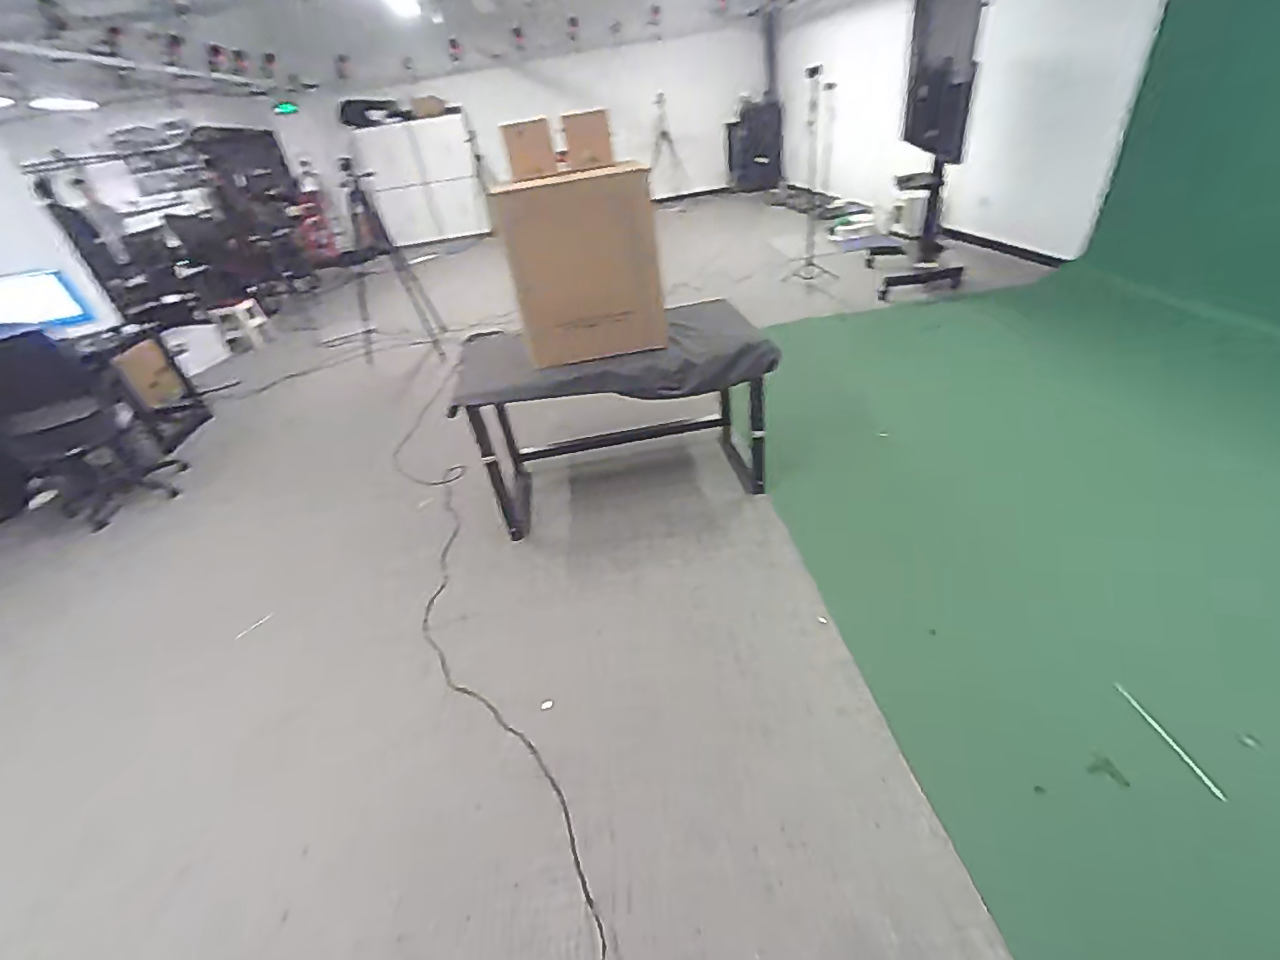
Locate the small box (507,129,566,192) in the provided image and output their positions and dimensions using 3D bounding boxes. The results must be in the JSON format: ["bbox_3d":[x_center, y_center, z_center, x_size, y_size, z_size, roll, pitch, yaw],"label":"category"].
[{"bbox_3d":[-0.360,-1.126,1.910,0.168,0.176,0.179,-11,31,0],"label":"small box"}]
